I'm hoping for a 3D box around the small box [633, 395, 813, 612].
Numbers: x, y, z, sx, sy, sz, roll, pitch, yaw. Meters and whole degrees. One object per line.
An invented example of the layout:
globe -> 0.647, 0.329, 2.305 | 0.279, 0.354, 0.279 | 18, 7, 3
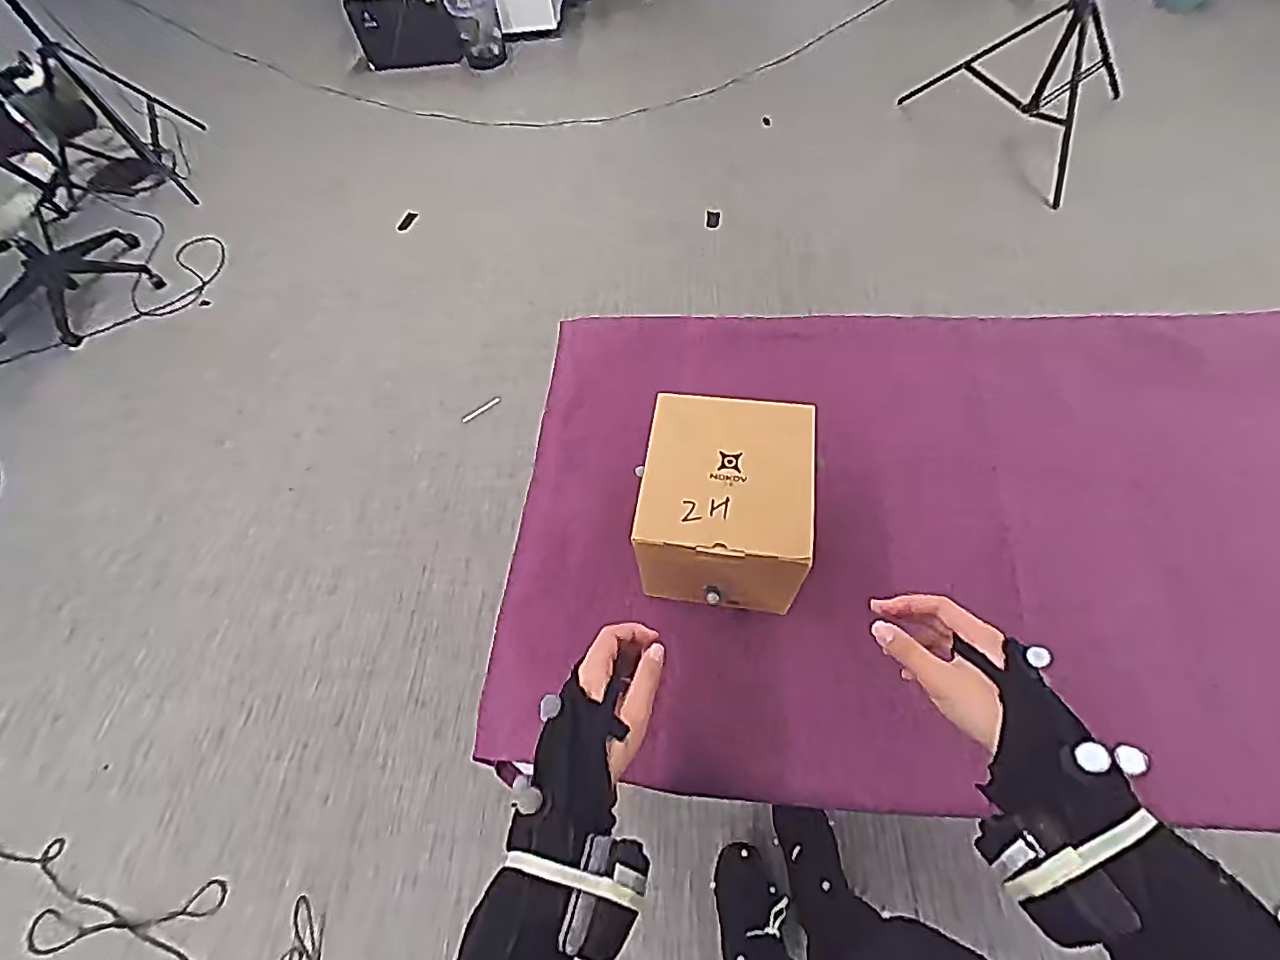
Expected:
small box -> 0.092, 0.030, 0.604 | 0.168, 0.176, 0.179 | 6, 61, 9
